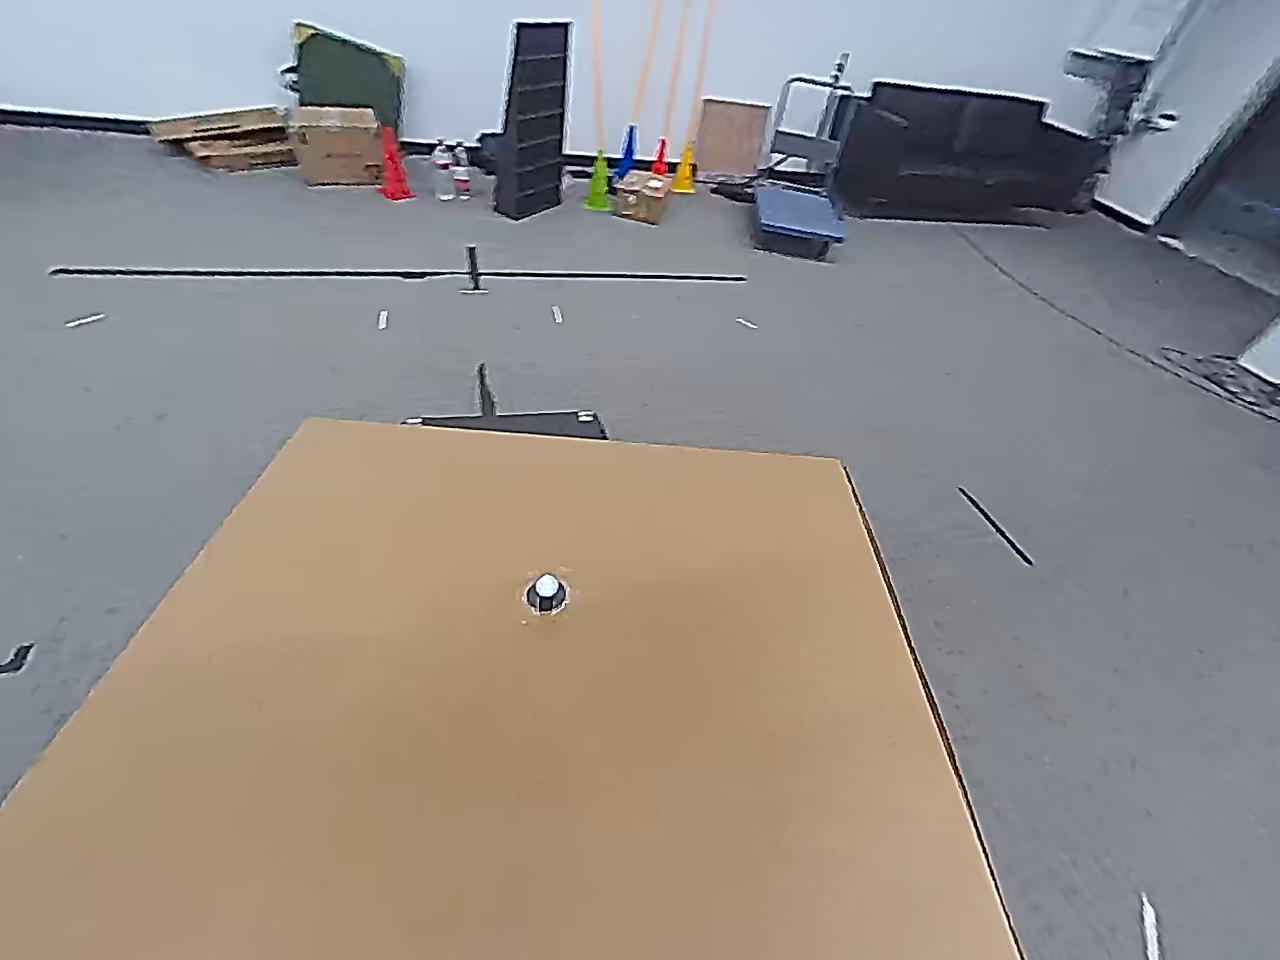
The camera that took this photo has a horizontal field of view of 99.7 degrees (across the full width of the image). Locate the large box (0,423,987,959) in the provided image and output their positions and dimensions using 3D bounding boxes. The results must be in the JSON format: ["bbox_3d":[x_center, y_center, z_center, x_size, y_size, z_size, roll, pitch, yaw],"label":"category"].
[{"bbox_3d":[-0.077,0.173,0.401,0.408,0.320,0.320,2,46,-2],"label":"large box"}]

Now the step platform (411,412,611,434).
[{"bbox_3d":[-0.424,-0.070,1.813,0.684,0.204,0.286,0,46,-13],"label":"step platform"}]
